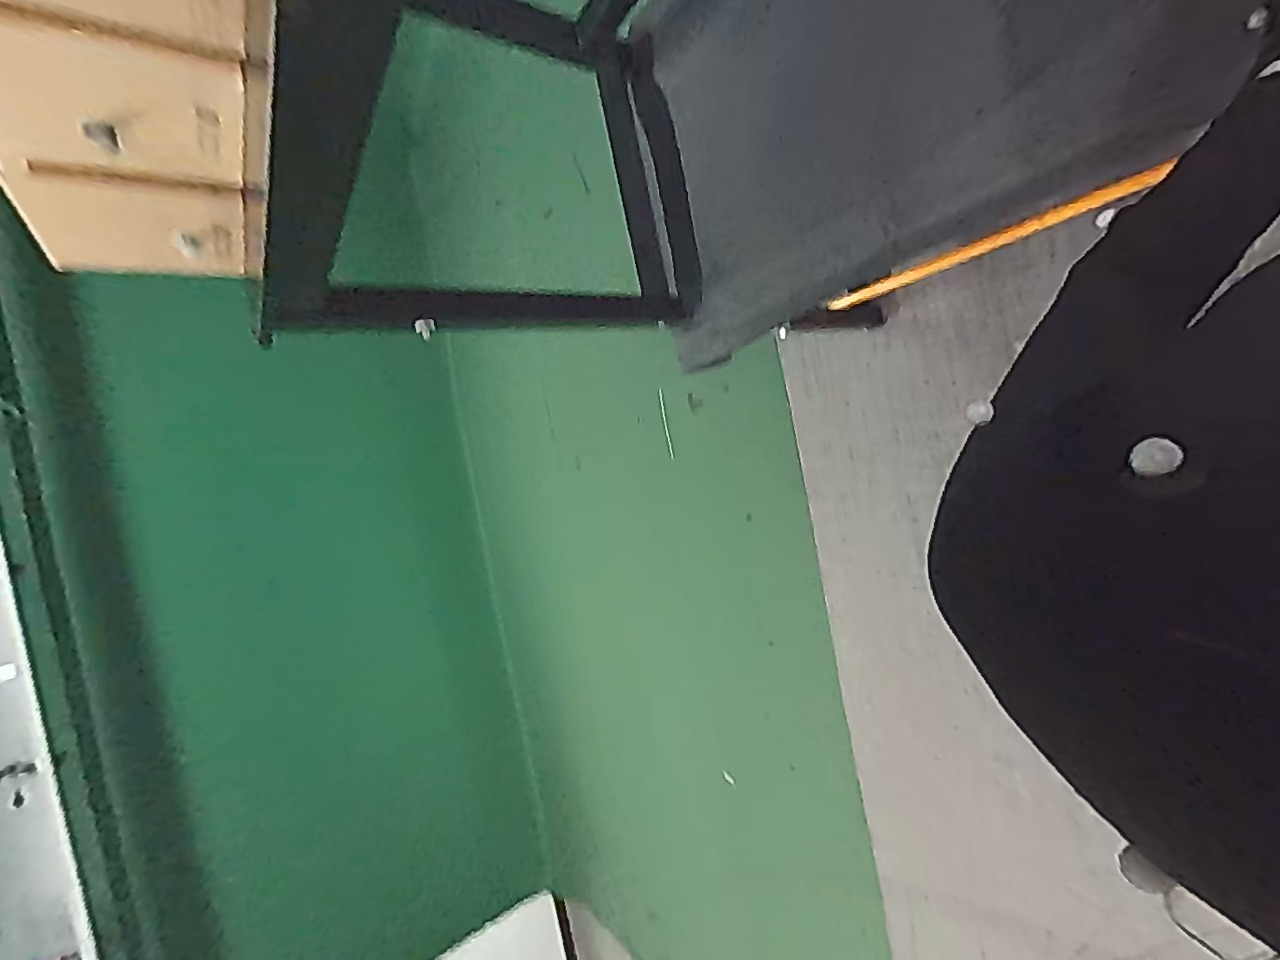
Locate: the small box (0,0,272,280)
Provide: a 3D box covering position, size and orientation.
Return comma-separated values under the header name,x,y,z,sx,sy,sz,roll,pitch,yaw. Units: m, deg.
name,x,y,z,sx,sy,sz,roll,pitch,yaw
small box,-0.502,-0.323,0.559,0.168,0.176,0.179,-14,90,54
